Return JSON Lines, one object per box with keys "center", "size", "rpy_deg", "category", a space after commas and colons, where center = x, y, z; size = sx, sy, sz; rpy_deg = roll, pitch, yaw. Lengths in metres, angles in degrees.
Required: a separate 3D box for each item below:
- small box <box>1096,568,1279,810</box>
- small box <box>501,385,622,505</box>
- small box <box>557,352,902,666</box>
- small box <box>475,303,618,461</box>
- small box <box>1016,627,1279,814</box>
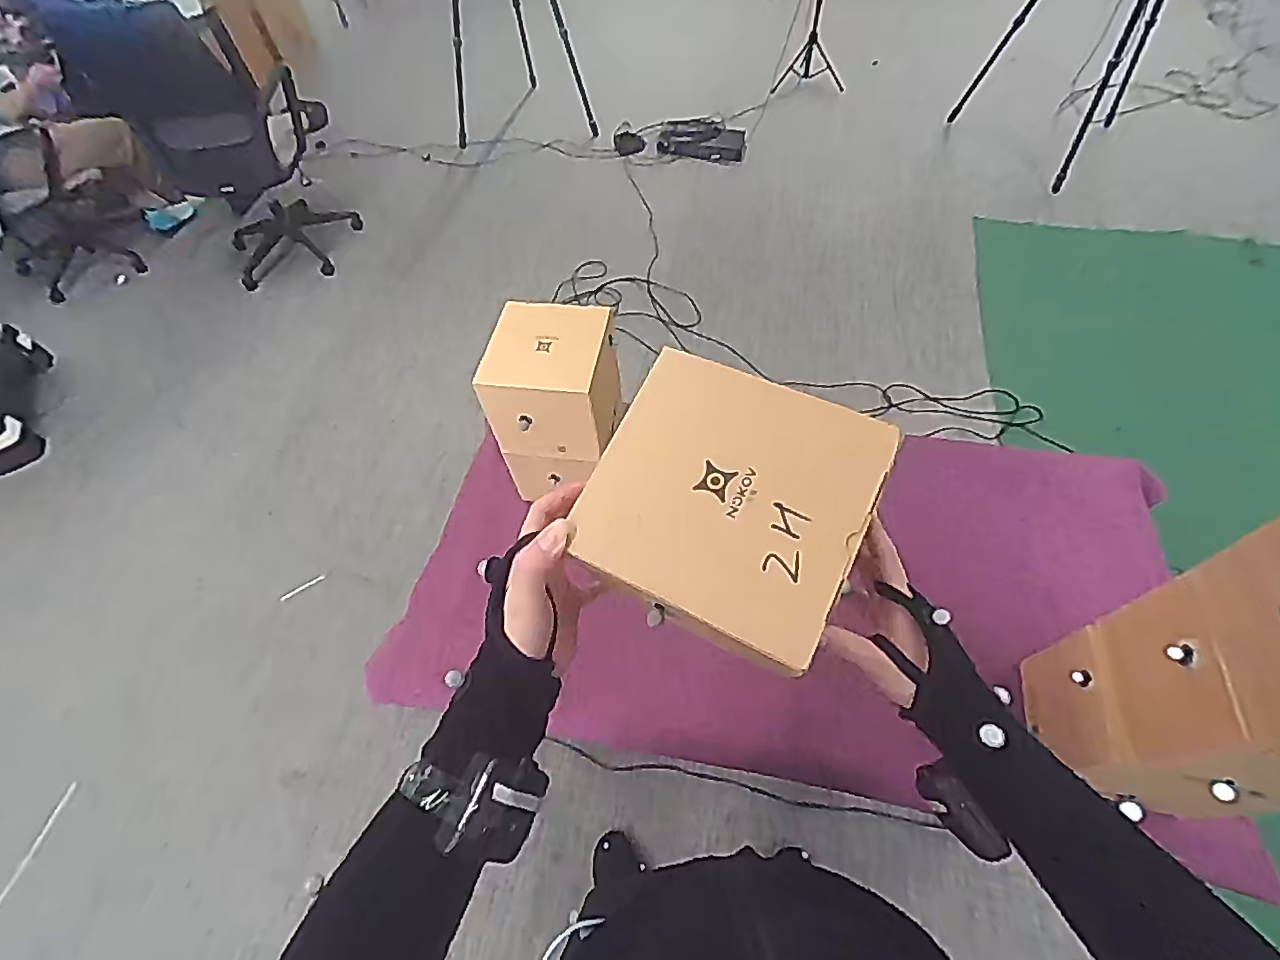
{"center": [0.621, 0.219, 0.560], "size": [0.168, 0.176, 0.179], "rpy_deg": [11, 58, 12], "category": "small box"}
{"center": [-0.128, -0.064, 0.981], "size": [0.179, 0.176, 0.168], "rpy_deg": [5, 57, 7], "category": "small box"}
{"center": [0.068, 0.035, 0.426], "size": [0.179, 0.176, 0.168], "rpy_deg": [25, 76, 17], "category": "small box"}
{"center": [-0.131, -0.148, 0.842], "size": [0.168, 0.176, 0.179], "rpy_deg": [6, 57, 7], "category": "small box"}
{"center": [0.626, 0.312, 0.694], "size": [0.179, 0.176, 0.168], "rpy_deg": [12, 57, 11], "category": "small box"}
